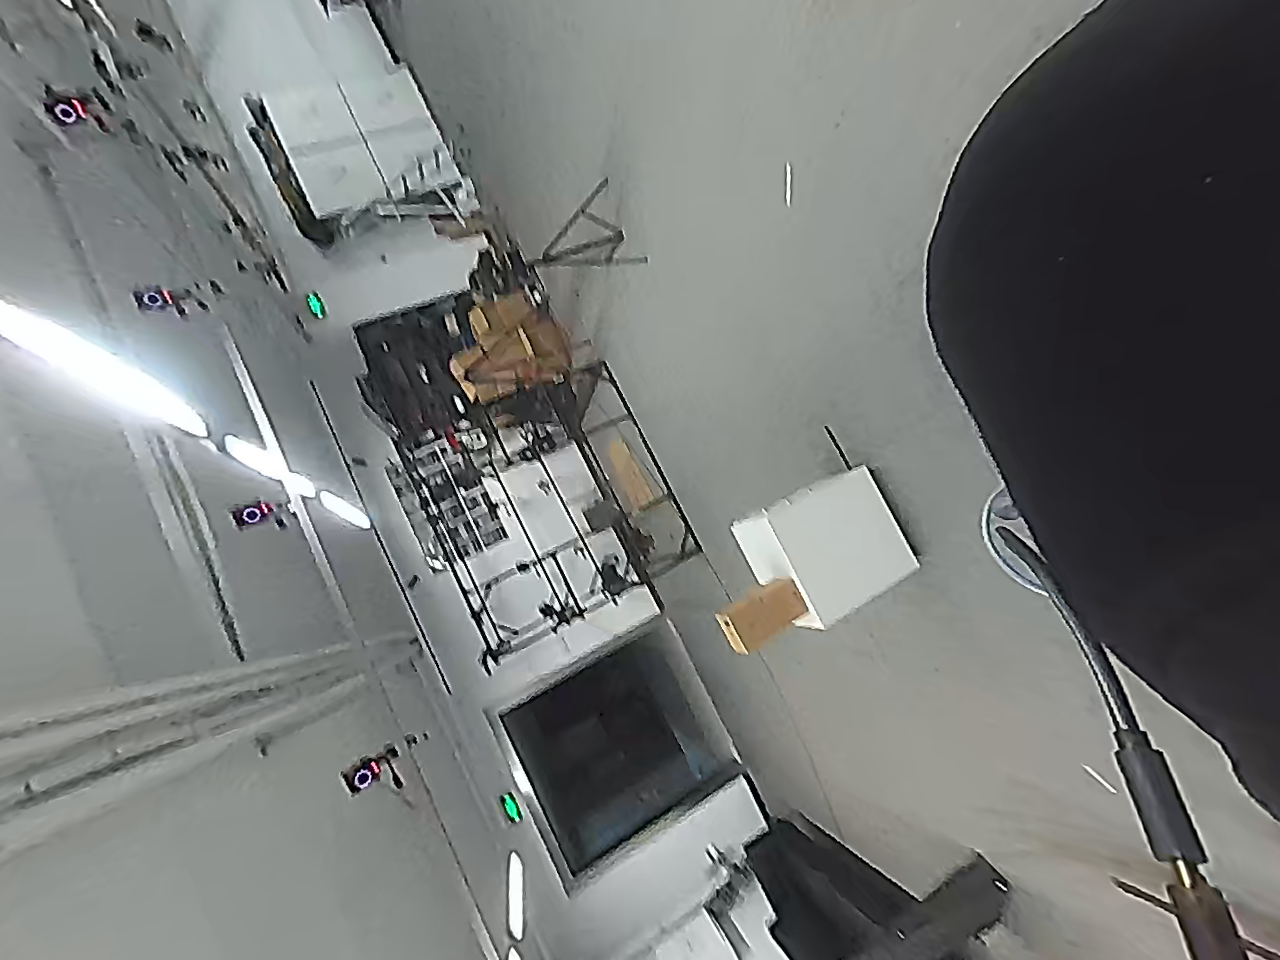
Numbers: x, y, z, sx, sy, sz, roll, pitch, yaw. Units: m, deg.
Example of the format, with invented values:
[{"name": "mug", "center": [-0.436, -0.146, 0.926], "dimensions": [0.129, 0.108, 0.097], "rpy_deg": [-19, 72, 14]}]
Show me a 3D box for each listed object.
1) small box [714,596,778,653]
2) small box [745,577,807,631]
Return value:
[{"name": "small box", "center": [0.447, 0.603, 2.280], "dimensions": [0.179, 0.176, 0.168], "rpy_deg": [61, 165, 6]}, {"name": "small box", "center": [0.586, 0.529, 2.327], "dimensions": [0.168, 0.176, 0.179], "rpy_deg": [63, 164, 3]}]
